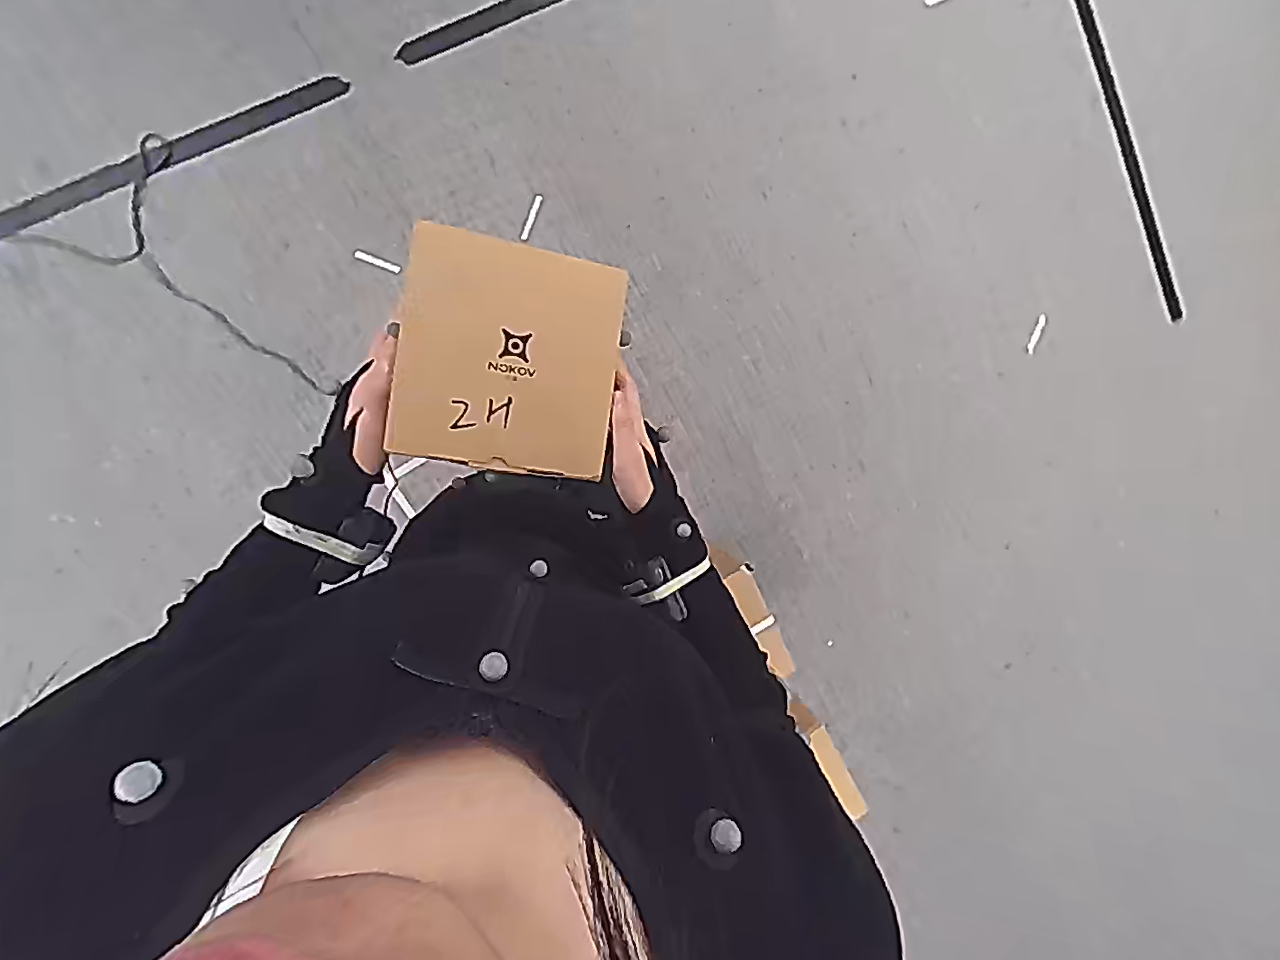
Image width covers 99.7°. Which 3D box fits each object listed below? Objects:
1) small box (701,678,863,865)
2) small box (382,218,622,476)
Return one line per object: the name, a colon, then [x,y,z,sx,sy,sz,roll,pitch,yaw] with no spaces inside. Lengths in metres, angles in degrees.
small box: [0.226,0.468,0.895,0.168,0.176,0.179,-30,100,-6]
small box: [-0.123,-0.100,0.494,0.168,0.176,0.179,7,90,-15]
